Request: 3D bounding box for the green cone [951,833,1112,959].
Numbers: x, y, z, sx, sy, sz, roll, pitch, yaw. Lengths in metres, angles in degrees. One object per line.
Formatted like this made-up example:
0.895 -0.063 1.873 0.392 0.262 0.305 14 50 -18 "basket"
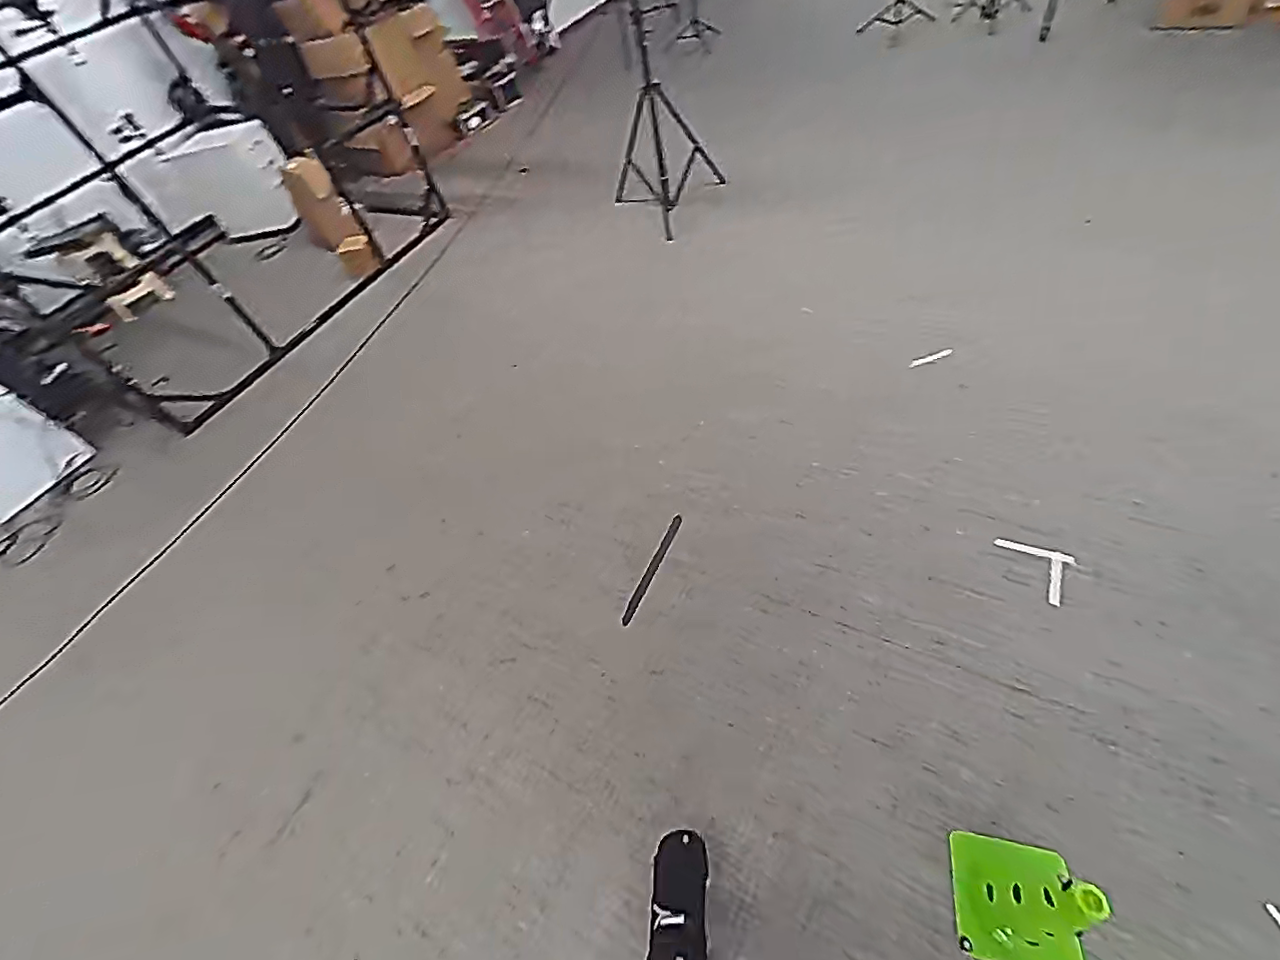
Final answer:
0.670 0.687 0.881 0.200 0.368 0.202 3 52 17 "green cone"
